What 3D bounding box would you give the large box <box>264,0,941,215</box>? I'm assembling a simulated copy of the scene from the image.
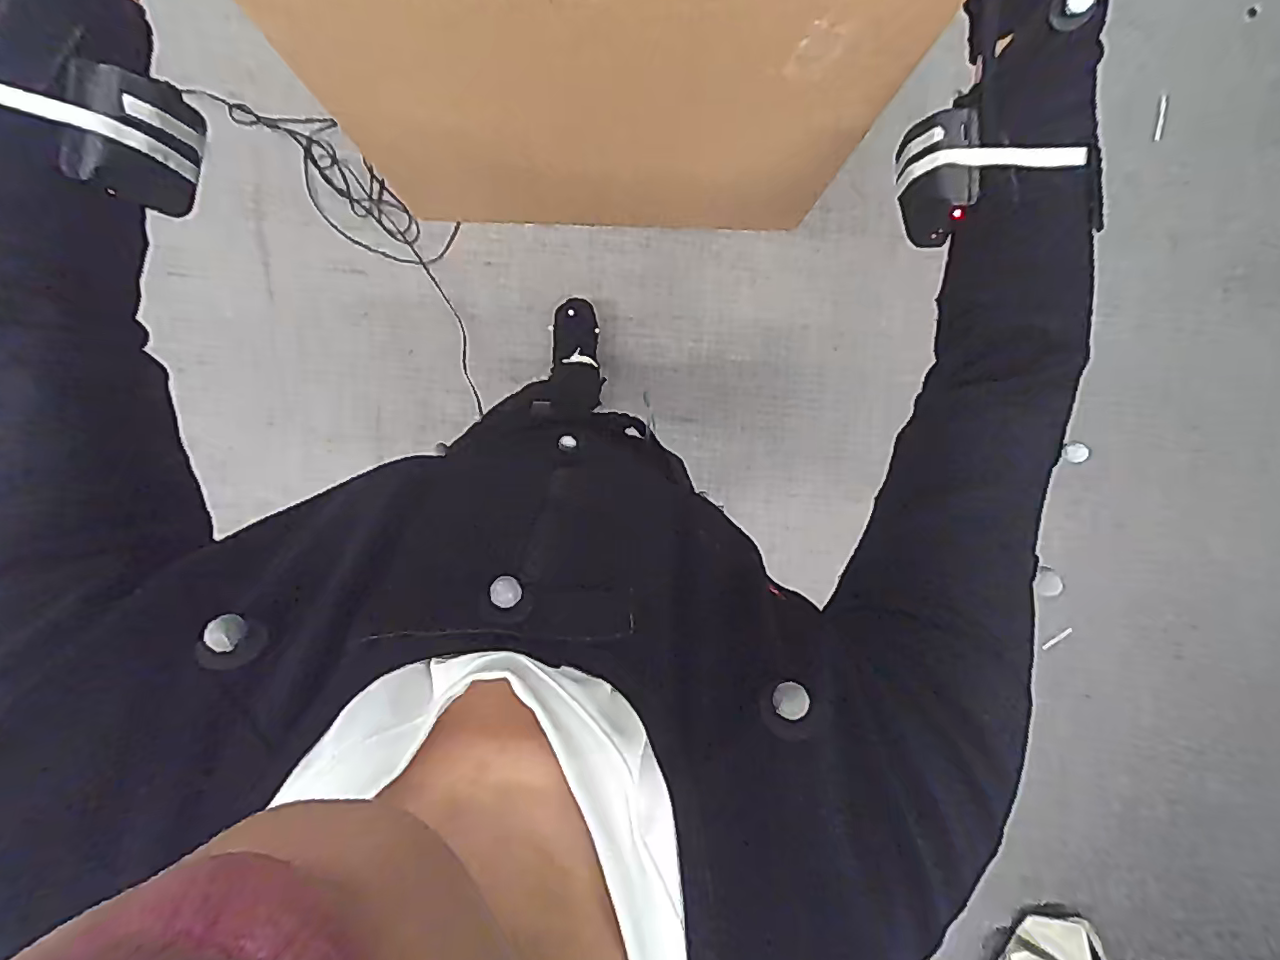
[{"bbox_3d":[-0.028,-0.427,0.418,0.408,0.320,0.320,0,93,-3],"label":"large box"}]
